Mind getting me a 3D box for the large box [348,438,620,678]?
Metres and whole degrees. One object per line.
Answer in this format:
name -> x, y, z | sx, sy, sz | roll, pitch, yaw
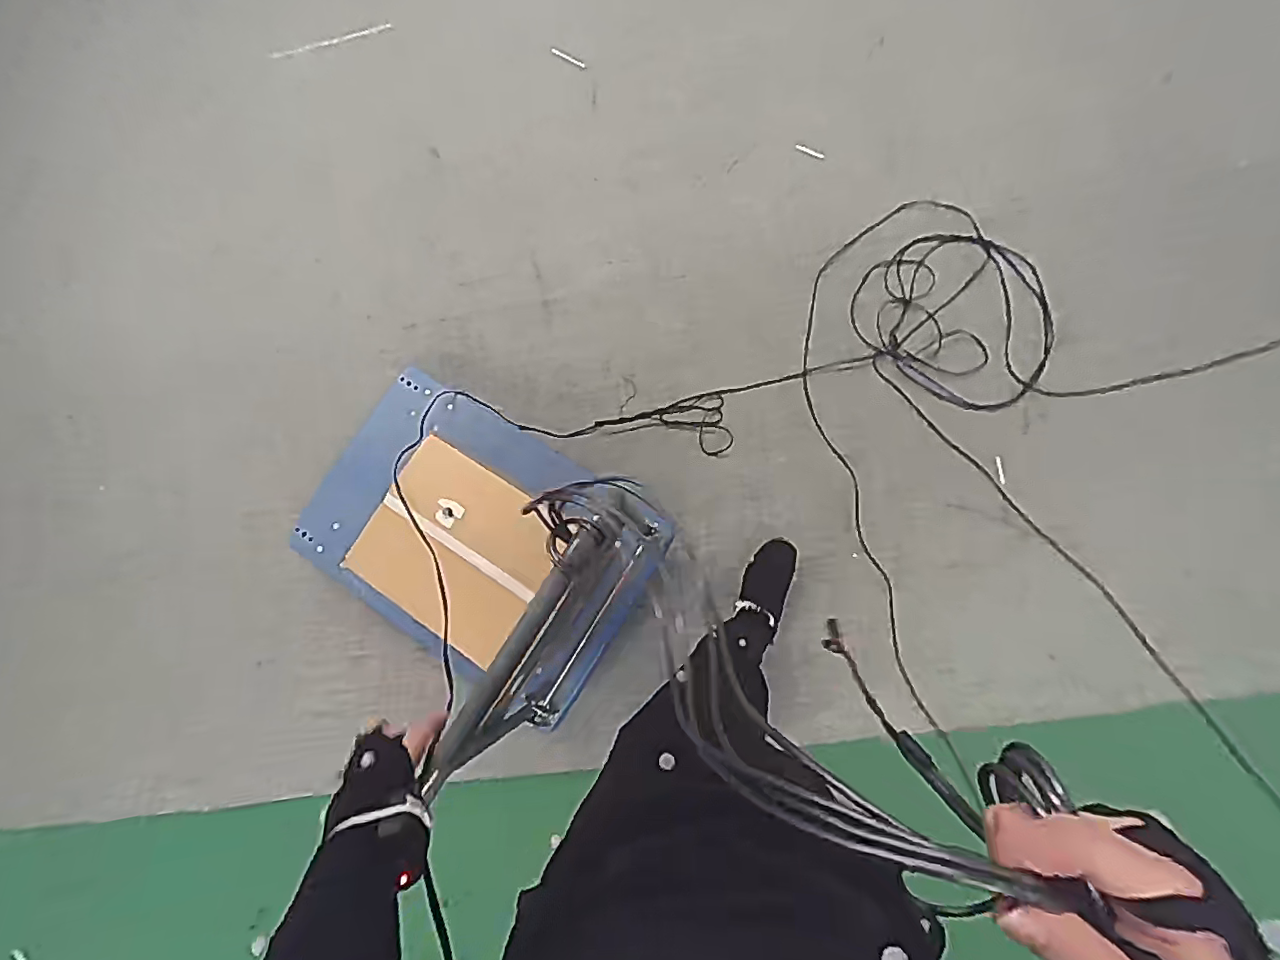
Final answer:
large box -> -0.308, 0.165, 1.176 | 0.408, 0.320, 0.320 | 31, 84, 12
